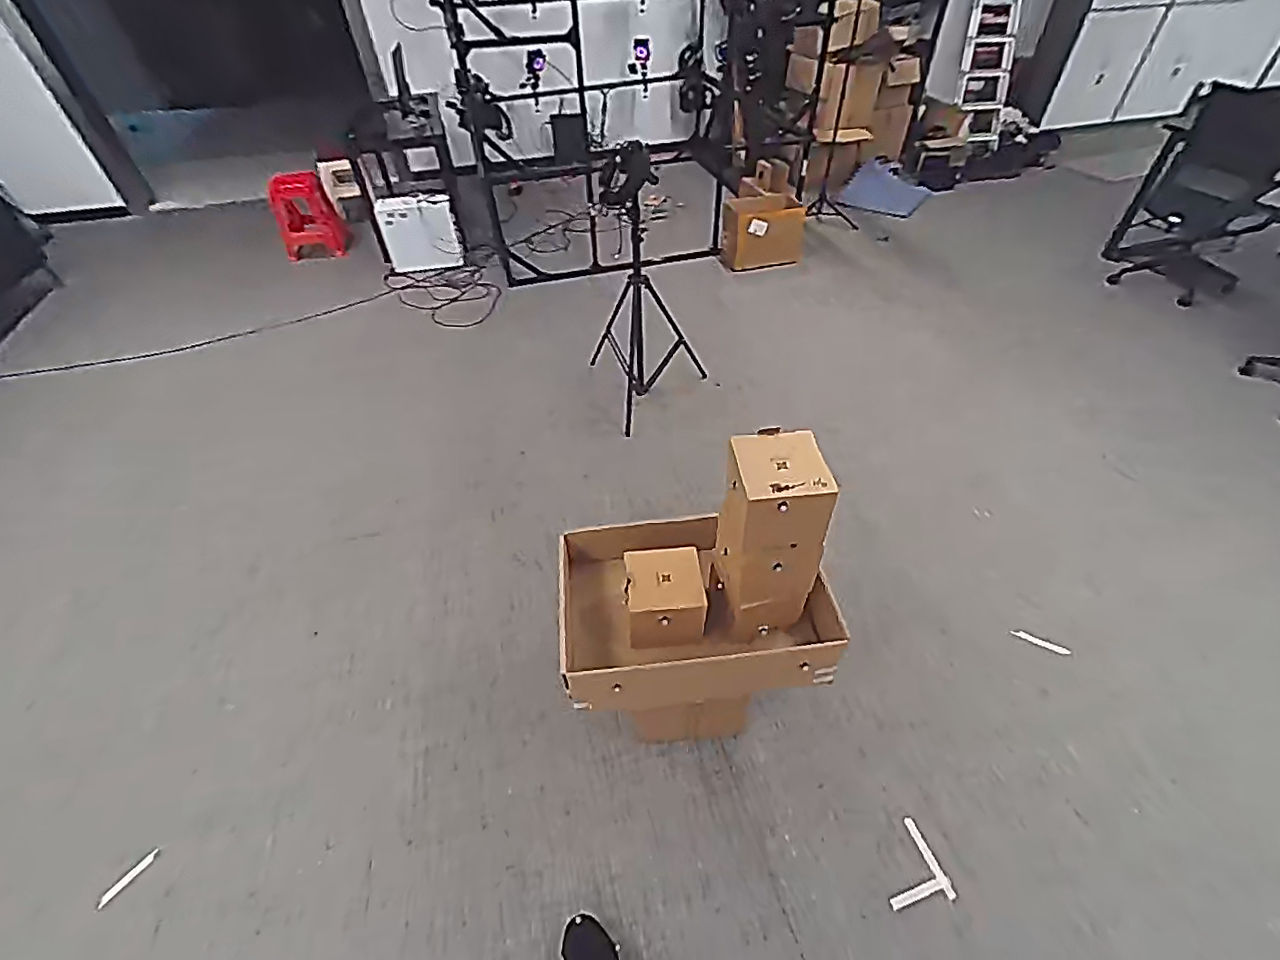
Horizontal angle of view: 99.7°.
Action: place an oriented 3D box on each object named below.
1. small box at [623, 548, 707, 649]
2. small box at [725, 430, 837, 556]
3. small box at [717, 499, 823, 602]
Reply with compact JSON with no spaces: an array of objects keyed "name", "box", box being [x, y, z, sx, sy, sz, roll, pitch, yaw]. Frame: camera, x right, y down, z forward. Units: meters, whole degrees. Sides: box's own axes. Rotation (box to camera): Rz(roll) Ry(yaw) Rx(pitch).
[{"name":"small box","box":[0.054,0.282,1.277,0.179,0.176,0.168,-5,45,-3]},{"name":"small box","box":[0.263,0.025,1.057,0.168,0.176,0.179,-6,44,0]},{"name":"small box","box":[0.269,0.144,1.170,0.179,0.176,0.168,-9,46,-5]}]
